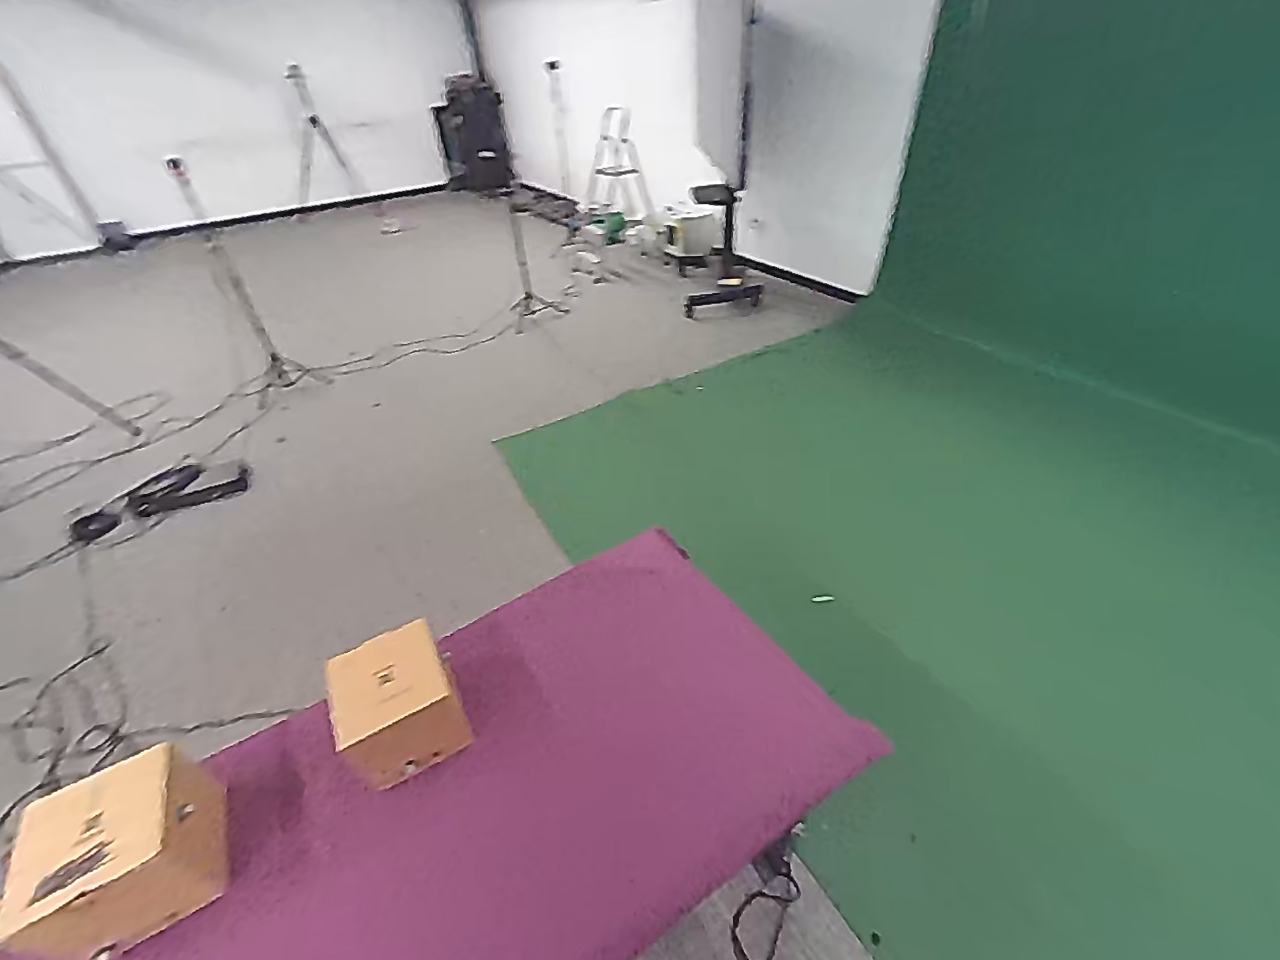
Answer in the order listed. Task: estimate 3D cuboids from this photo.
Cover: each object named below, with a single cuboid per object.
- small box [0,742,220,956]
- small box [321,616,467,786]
[{"bbox_3d":[-0.723,0.517,0.756,0.168,0.176,0.179,-23,45,-23],"label":"small box"},{"bbox_3d":[-0.413,0.373,0.916,0.168,0.176,0.179,-23,45,-21],"label":"small box"}]
